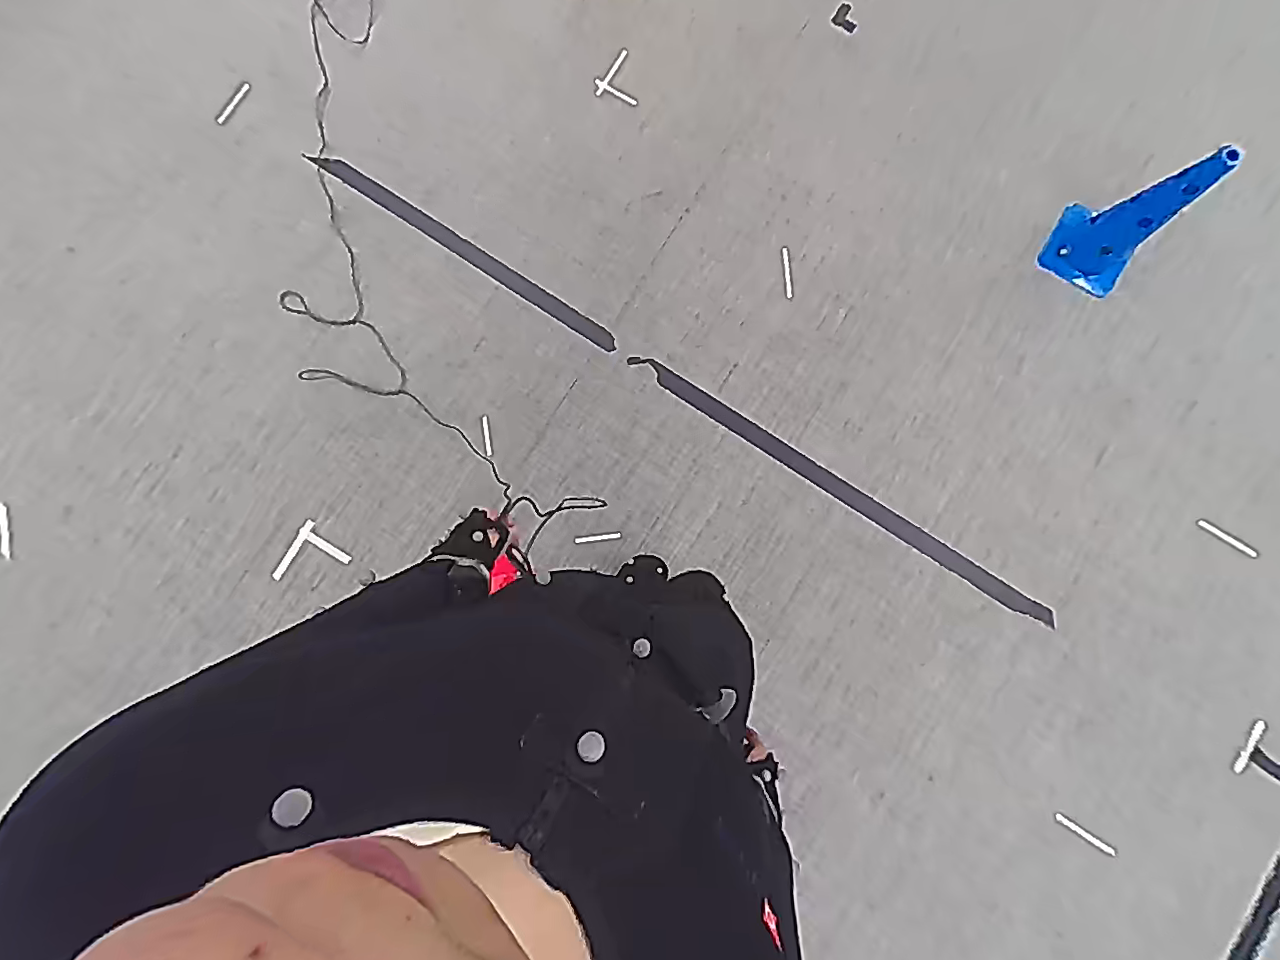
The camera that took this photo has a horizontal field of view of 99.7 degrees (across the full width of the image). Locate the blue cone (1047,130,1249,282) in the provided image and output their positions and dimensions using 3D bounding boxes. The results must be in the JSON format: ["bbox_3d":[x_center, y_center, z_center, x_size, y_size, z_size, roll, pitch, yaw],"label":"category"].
[{"bbox_3d":[1.160,-0.634,1.230,0.193,0.380,0.192,33,85,5],"label":"blue cone"}]

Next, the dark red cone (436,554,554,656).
[{"bbox_3d":[-0.339,0.286,1.165,0.202,0.394,0.201,25,85,4],"label":"dark red cone"}]
